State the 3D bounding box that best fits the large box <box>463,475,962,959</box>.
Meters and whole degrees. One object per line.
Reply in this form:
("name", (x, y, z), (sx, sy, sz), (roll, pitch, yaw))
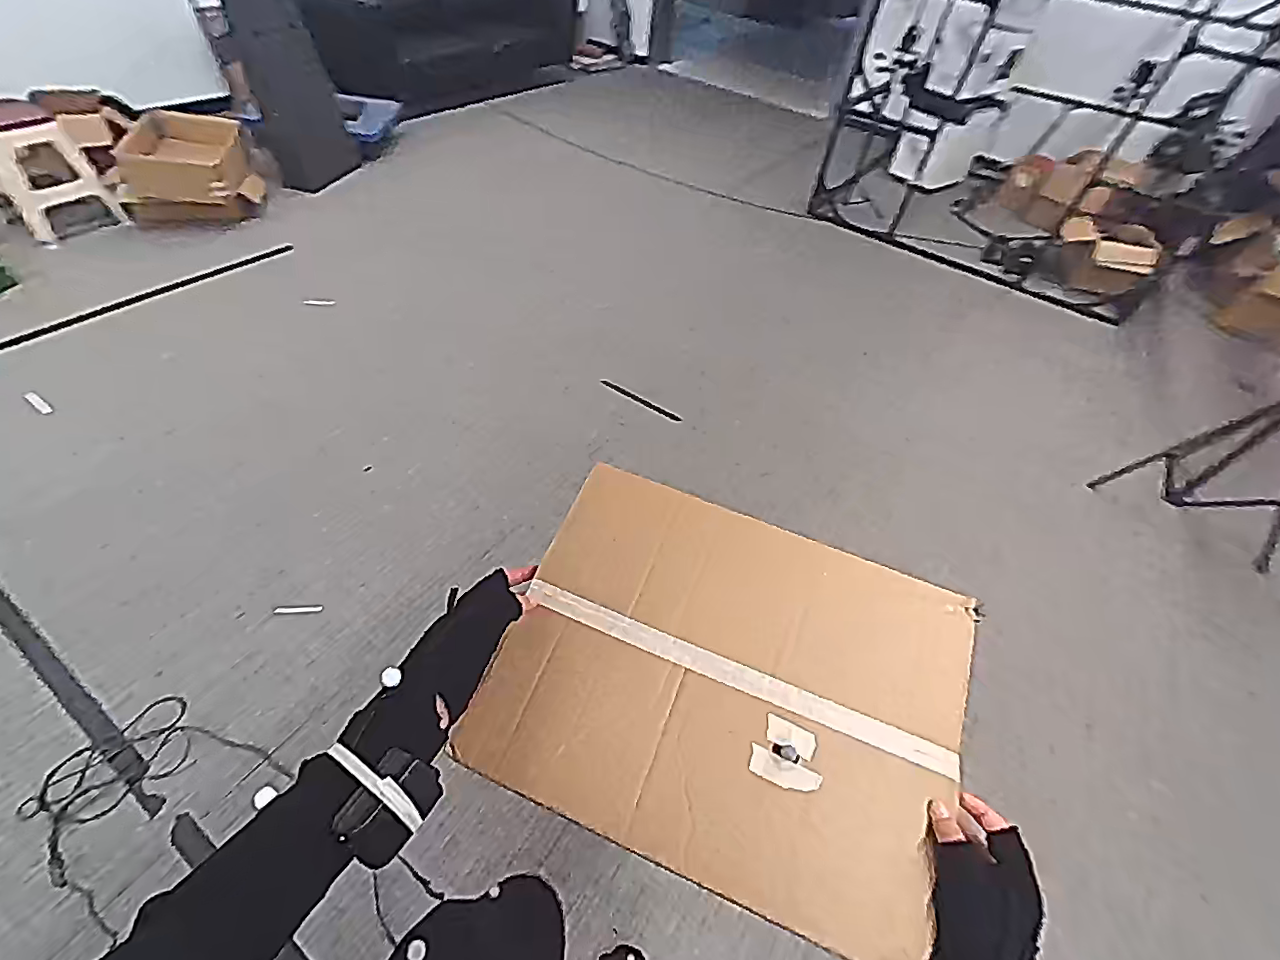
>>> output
("large box", (0.079, 0.251, 0.632), (0.408, 0.320, 0.320), (20, 63, 10))
